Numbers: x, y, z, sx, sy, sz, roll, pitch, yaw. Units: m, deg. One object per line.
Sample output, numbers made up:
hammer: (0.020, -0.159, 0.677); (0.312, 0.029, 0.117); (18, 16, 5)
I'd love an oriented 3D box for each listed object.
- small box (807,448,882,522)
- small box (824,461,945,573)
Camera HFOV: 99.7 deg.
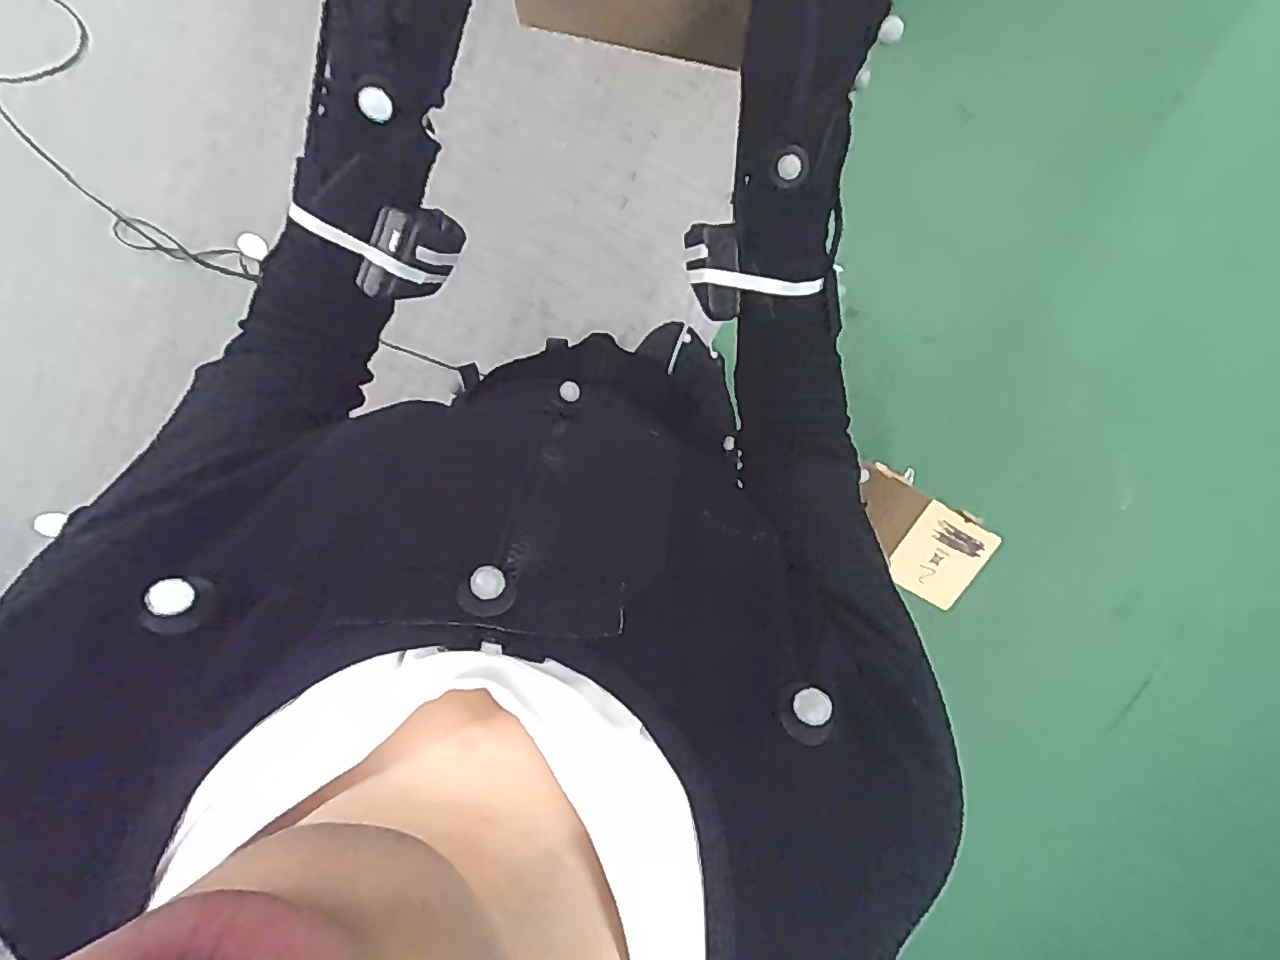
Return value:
small box: (0.564, 0.039, 1.428); (0.168, 0.176, 0.179); (28, 104, -8)
small box: (0.559, 0.080, 1.271); (0.168, 0.176, 0.179); (29, 103, -8)
